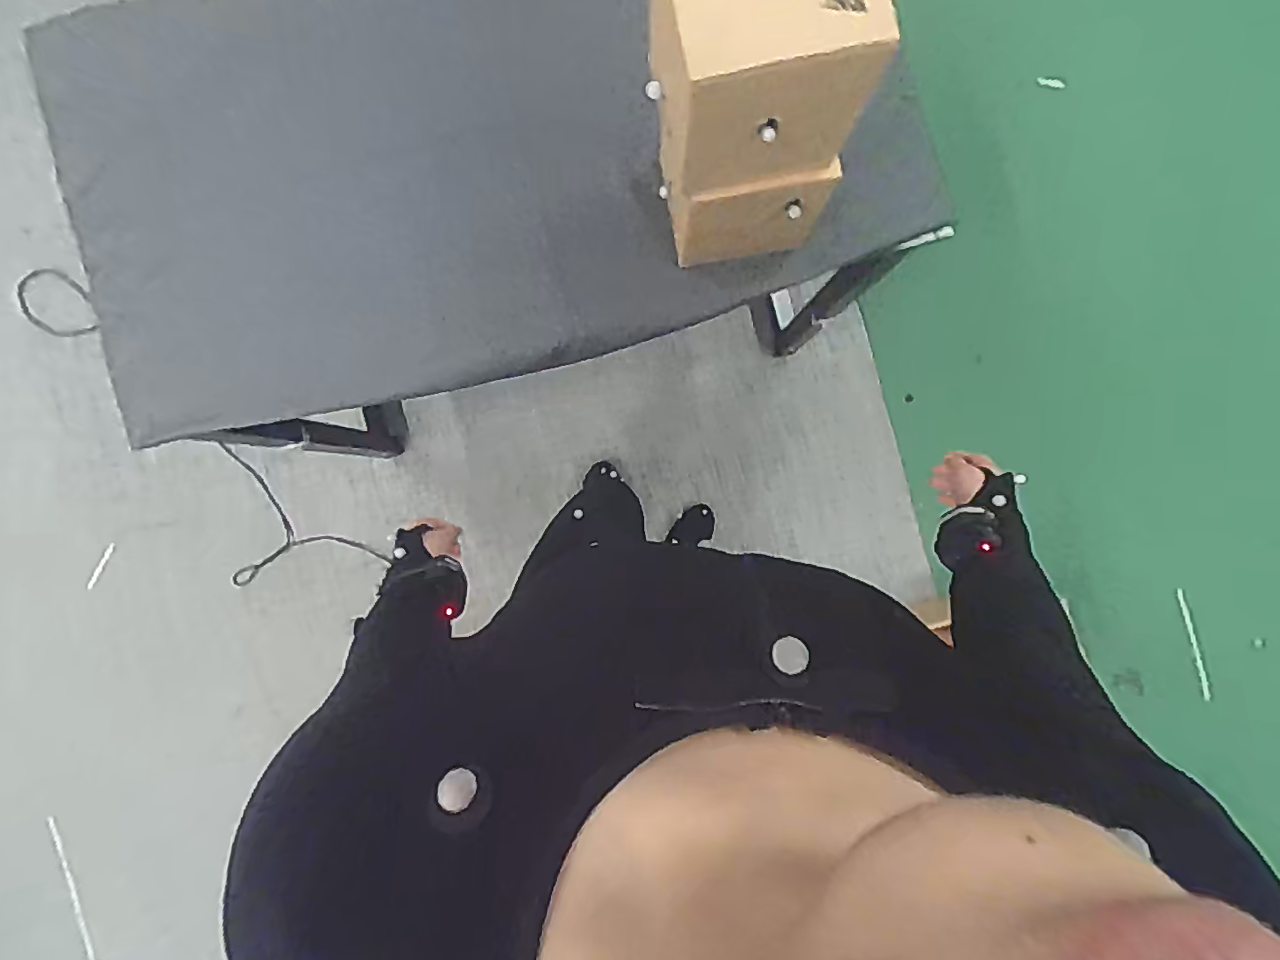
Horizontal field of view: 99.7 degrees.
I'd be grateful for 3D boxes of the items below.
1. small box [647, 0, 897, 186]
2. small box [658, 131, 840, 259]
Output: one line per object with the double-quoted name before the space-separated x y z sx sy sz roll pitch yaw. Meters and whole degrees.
"small box" 0.105 -0.413 0.509 0.179 0.176 0.168 -11 88 1
"small box" 0.122 -0.400 0.672 0.179 0.176 0.168 -10 88 1
